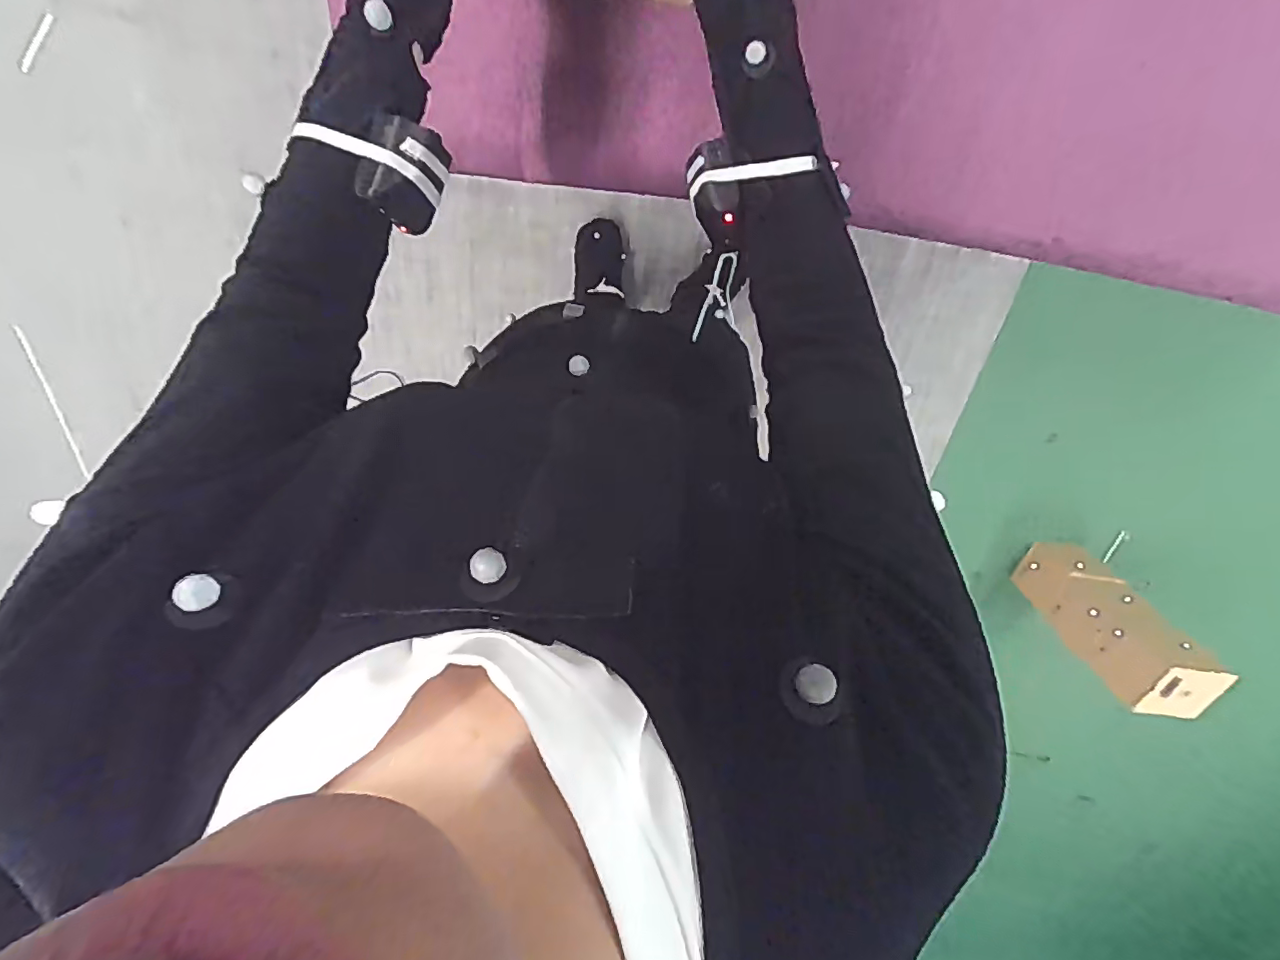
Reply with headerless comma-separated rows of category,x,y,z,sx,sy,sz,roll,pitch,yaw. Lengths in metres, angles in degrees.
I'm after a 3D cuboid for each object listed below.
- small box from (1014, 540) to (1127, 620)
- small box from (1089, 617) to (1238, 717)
small box,1.311,0.302,1.661,0.179,0.176,0.168,10,120,-3
small box,1.316,0.472,1.378,0.179,0.176,0.168,8,121,-5
